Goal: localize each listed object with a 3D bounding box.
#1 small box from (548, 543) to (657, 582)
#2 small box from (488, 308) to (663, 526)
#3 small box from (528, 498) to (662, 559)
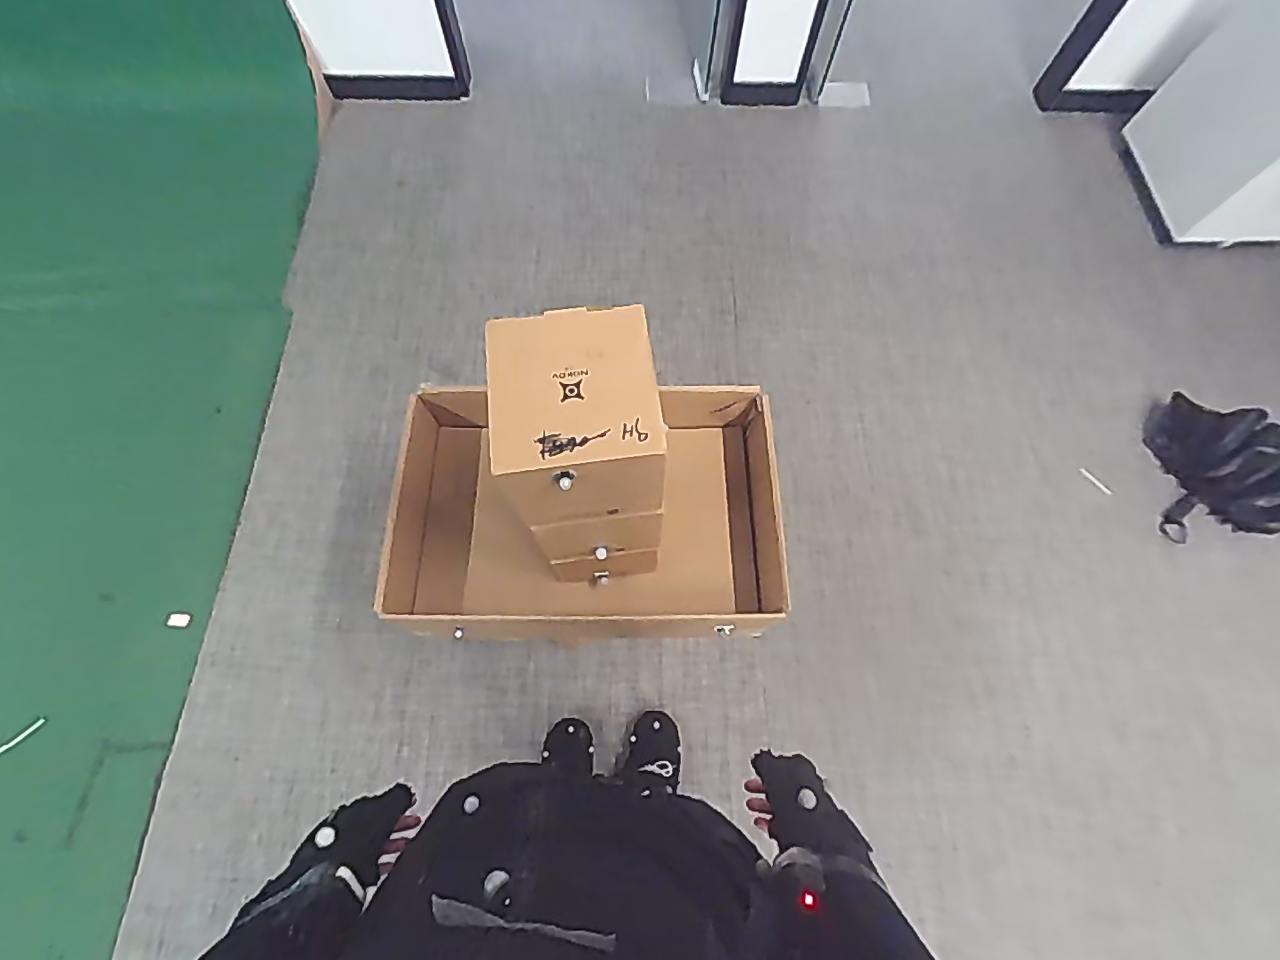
[{"bbox_3d":[-0.065,0.063,0.913,0.168,0.176,0.179,-7,69,-2],"label":"small box"},{"bbox_3d":[-0.068,-0.064,0.611,0.168,0.176,0.179,-8,67,-1],"label":"small box"},{"bbox_3d":[-0.063,0.000,0.761,0.168,0.176,0.179,-7,69,-2],"label":"small box"}]
